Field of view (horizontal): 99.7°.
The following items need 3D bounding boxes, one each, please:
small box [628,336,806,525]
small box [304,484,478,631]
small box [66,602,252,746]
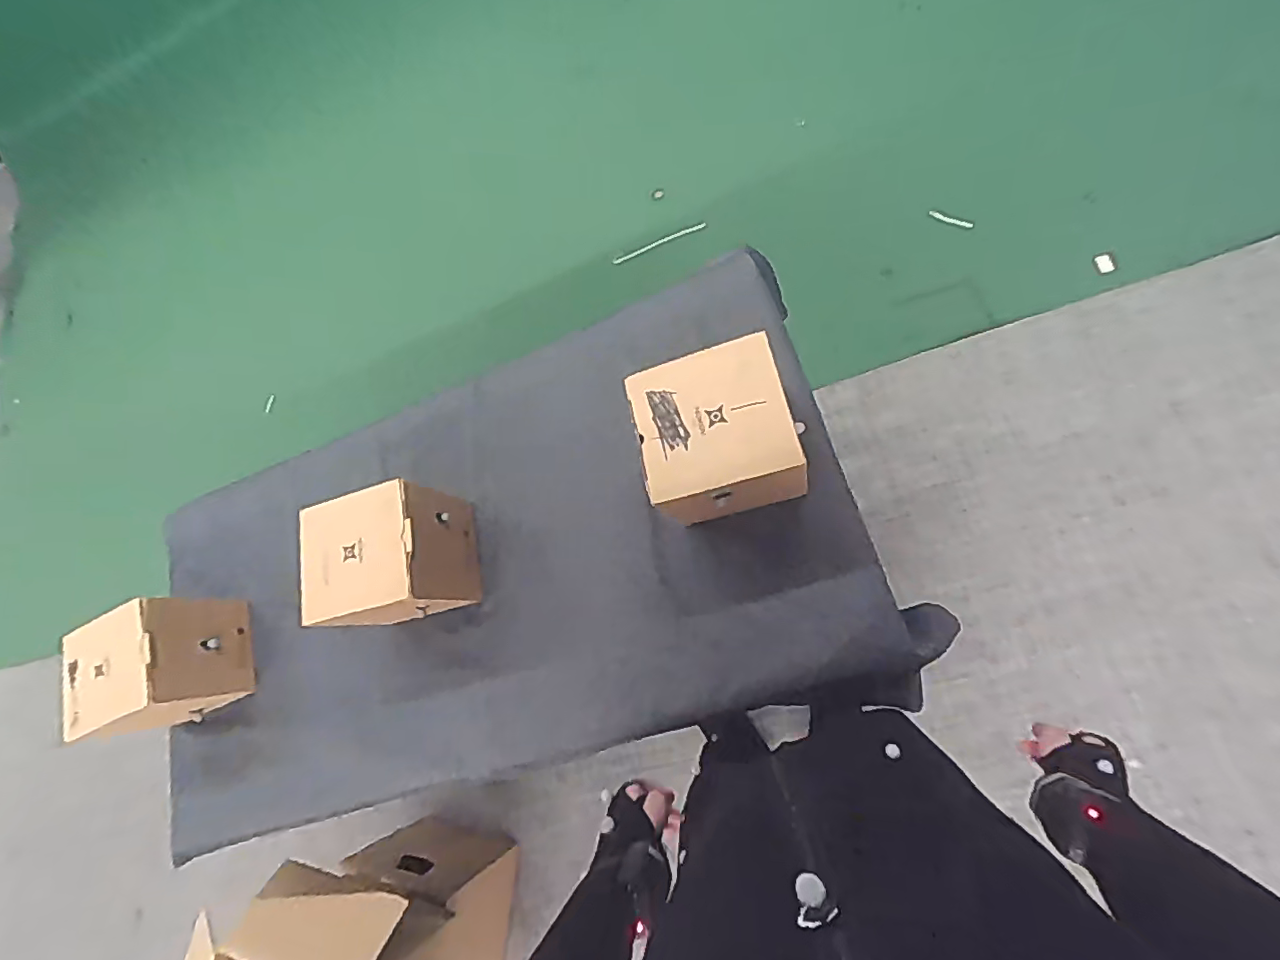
[{"bbox_3d":[0.103,-0.048,0.684,0.179,0.176,0.168,-16,73,13],"label":"small box"},{"bbox_3d":[-0.355,0.120,0.796,0.179,0.176,0.168,-17,71,14],"label":"small box"},{"bbox_3d":[-0.770,0.306,0.881,0.179,0.176,0.168,-24,70,9],"label":"small box"}]
